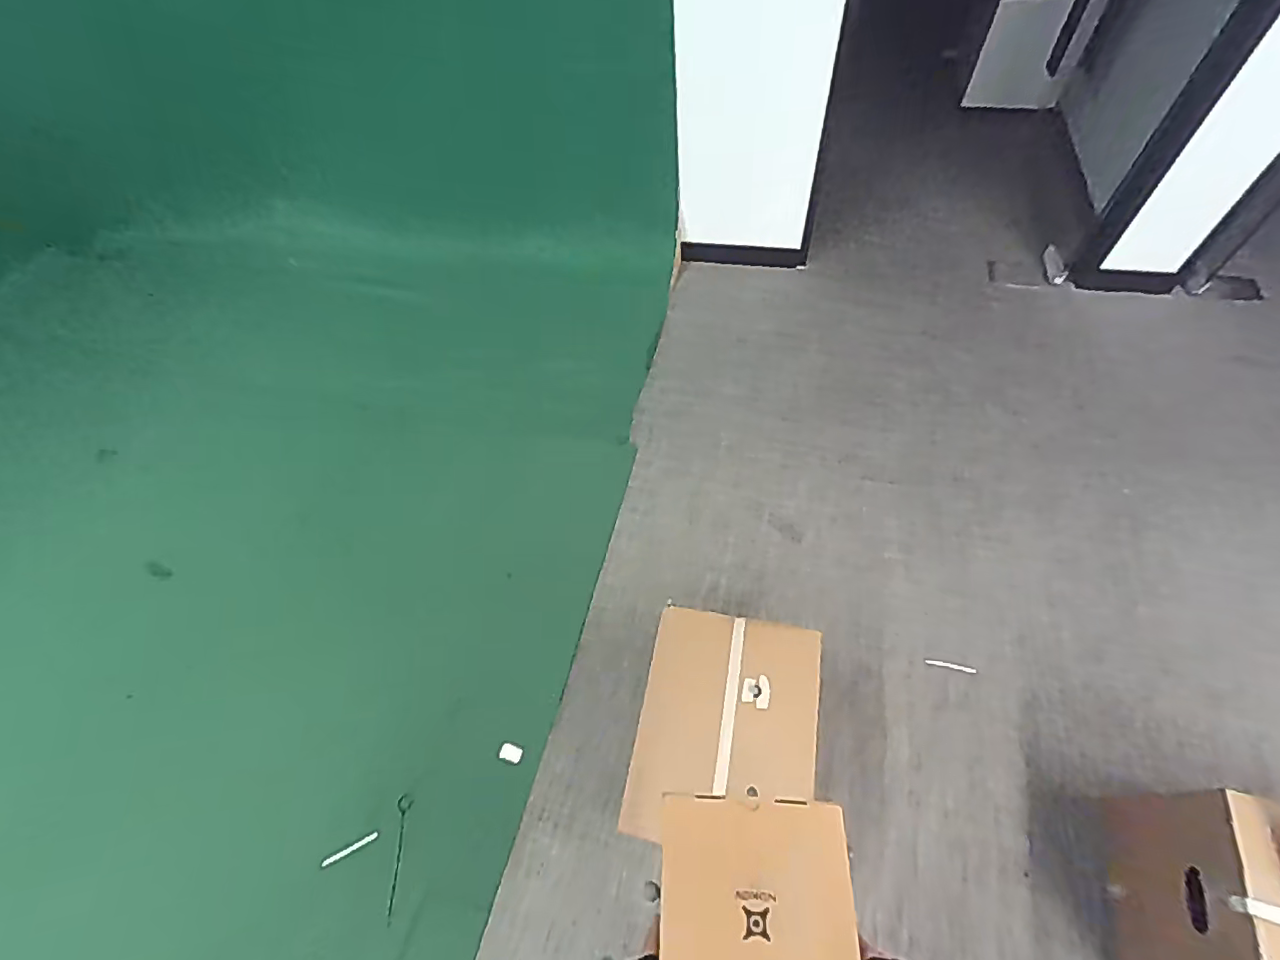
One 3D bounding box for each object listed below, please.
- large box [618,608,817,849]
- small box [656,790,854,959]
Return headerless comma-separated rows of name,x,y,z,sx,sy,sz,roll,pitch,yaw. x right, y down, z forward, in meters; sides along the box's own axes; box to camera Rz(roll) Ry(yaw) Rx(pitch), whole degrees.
large box,0.166,0.524,1.086,0.320,0.320,0.408,8,57,11
small box,0.105,0.415,0.532,0.168,0.176,0.179,1,57,6
